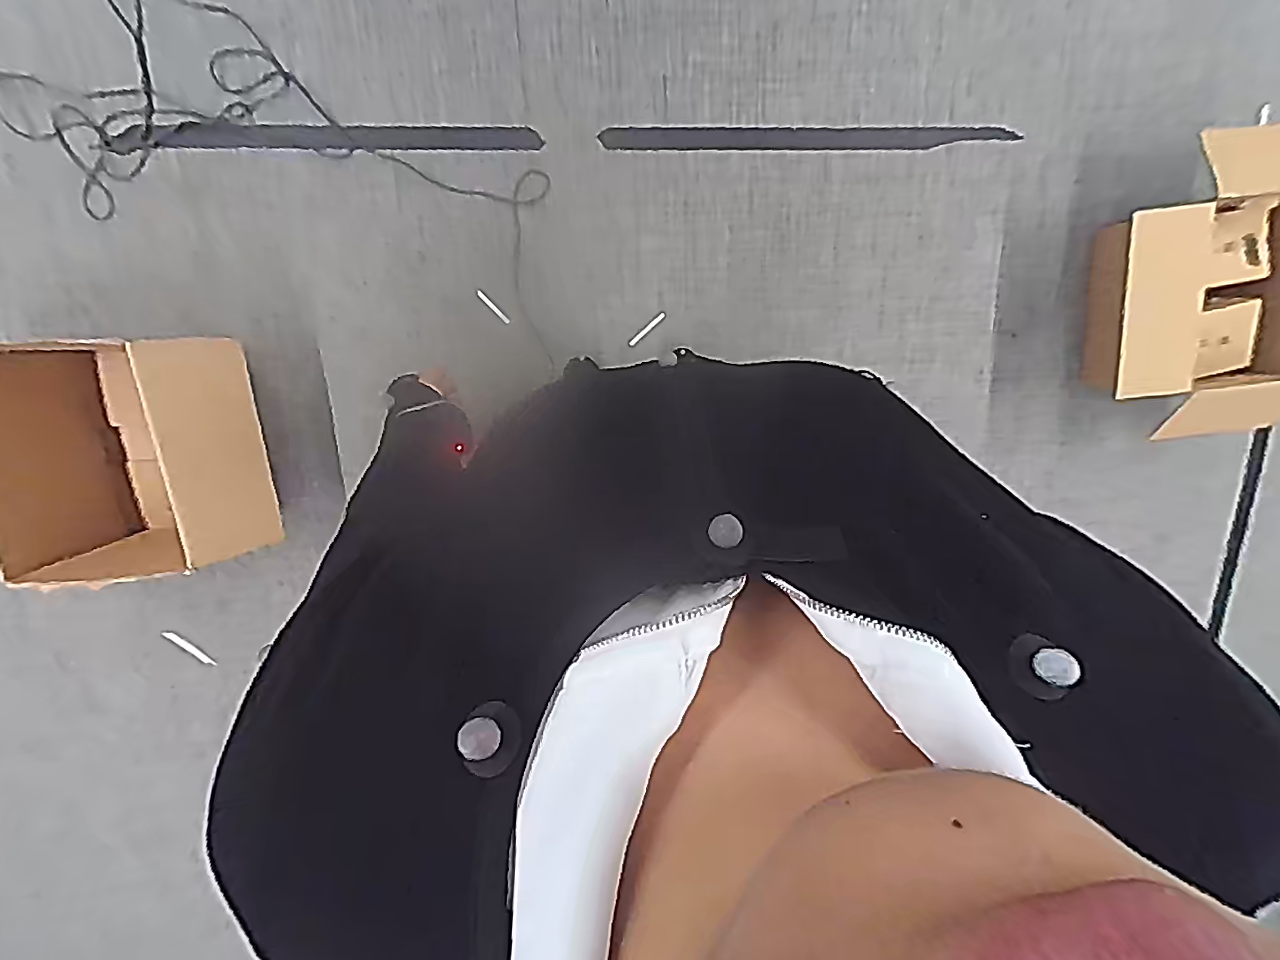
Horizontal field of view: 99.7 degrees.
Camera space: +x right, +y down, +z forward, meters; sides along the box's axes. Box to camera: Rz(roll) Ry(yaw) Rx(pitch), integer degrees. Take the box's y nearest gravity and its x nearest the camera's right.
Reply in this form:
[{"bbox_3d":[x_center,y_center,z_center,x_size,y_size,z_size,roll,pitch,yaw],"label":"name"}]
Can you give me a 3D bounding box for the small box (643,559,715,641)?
[{"bbox_3d":[0.100,0.317,1.456,0.179,0.176,0.168,-1,101,-1],"label":"small box"}]
